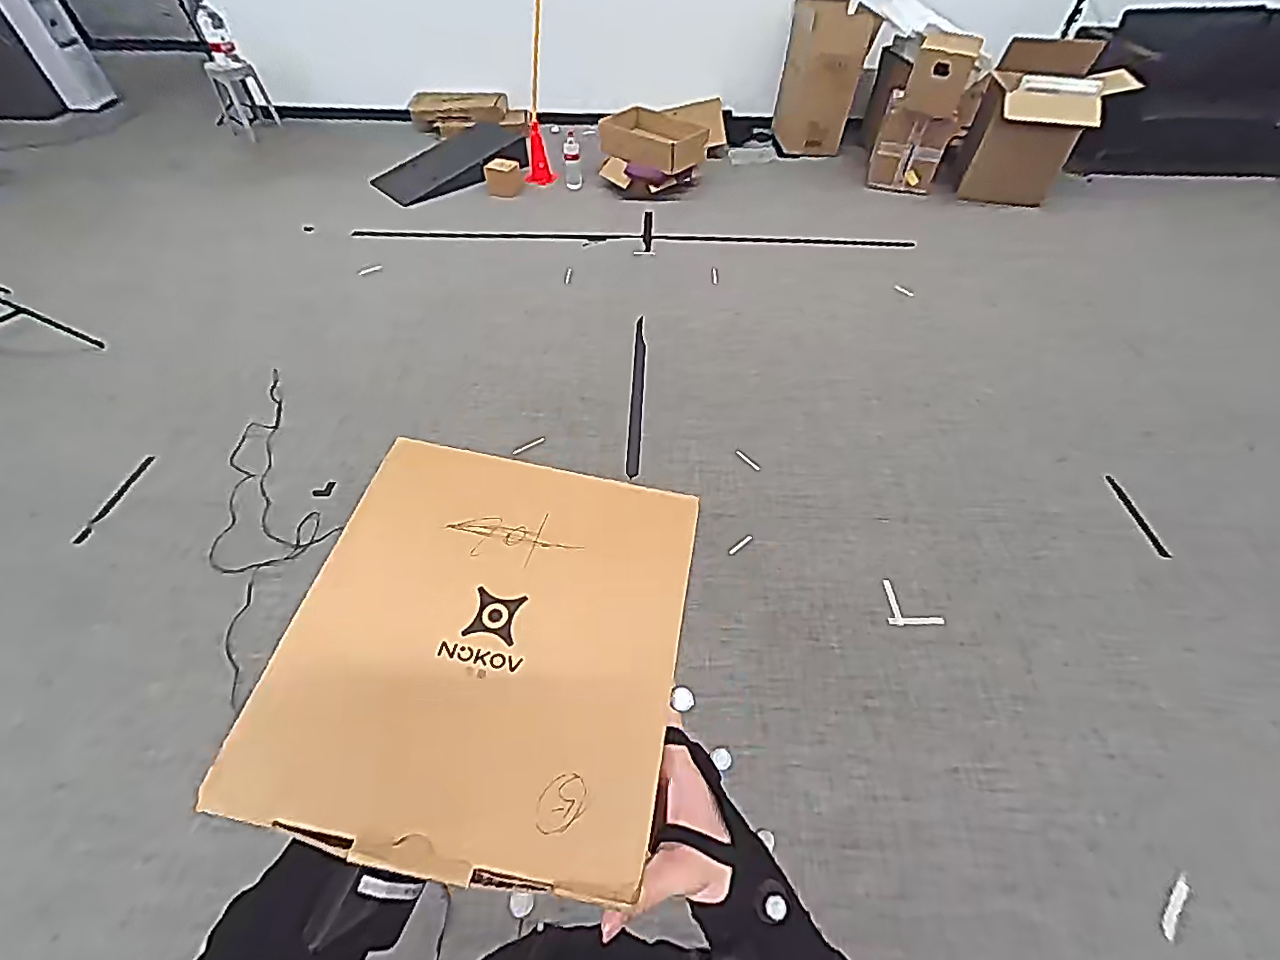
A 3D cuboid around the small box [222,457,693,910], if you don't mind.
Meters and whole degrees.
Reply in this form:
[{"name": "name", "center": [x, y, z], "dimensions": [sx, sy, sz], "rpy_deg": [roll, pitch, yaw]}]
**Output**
[{"name": "small box", "center": [-0.072, 0.117, 0.315], "dimensions": [0.168, 0.176, 0.179], "rpy_deg": [12, 55, 1]}]
